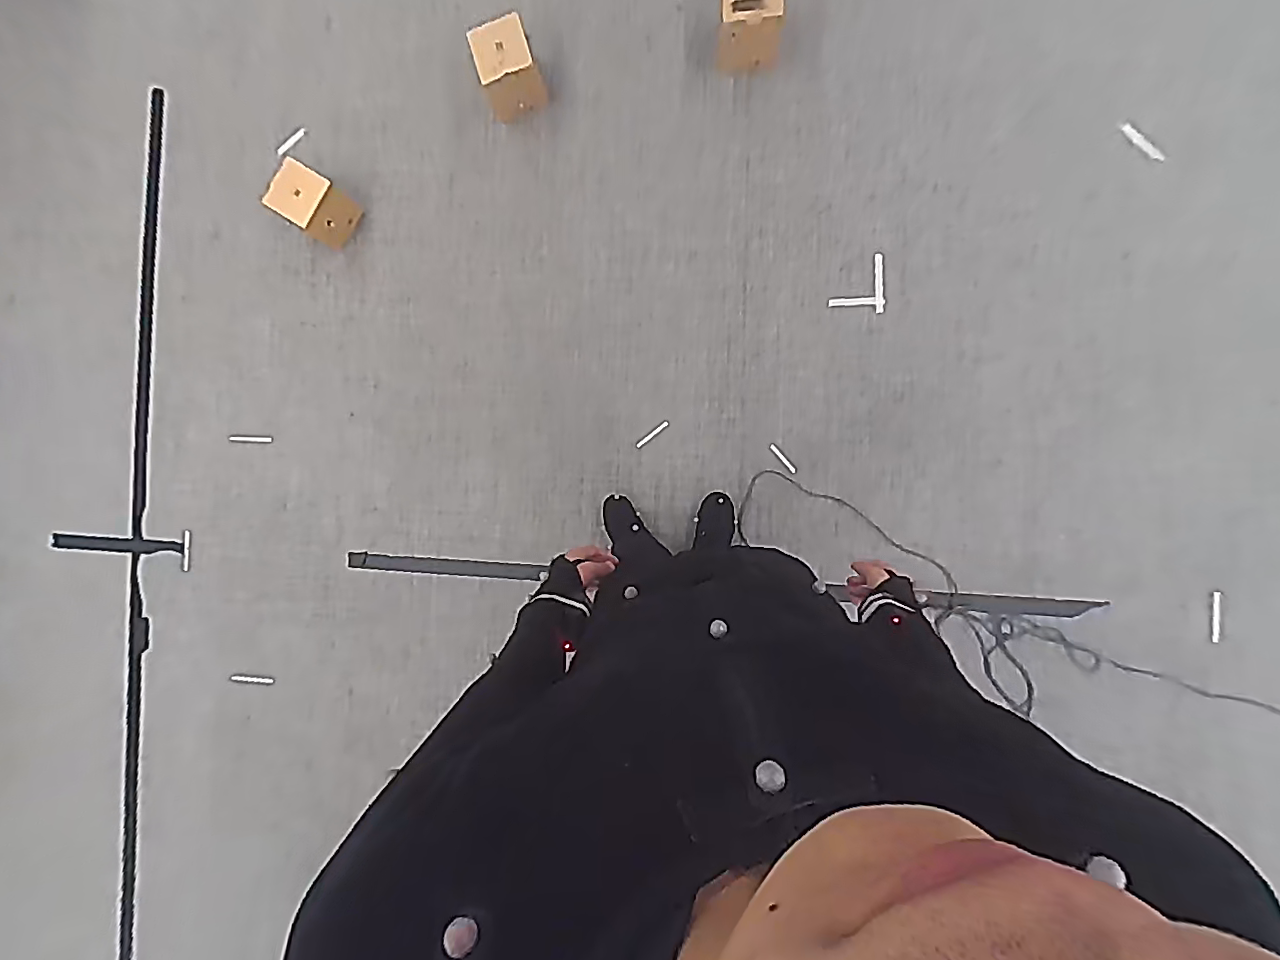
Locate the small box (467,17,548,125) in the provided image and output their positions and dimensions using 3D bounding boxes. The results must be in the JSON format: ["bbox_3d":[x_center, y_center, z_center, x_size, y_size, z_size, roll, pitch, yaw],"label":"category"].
[{"bbox_3d":[-0.401,-1.245,1.659,0.168,0.176,0.179,-18,87,7],"label":"small box"}]

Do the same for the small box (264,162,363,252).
[{"bbox_3d":[-1.032,-0.858,1.724,0.179,0.176,0.168,32,93,7],"label":"small box"}]
